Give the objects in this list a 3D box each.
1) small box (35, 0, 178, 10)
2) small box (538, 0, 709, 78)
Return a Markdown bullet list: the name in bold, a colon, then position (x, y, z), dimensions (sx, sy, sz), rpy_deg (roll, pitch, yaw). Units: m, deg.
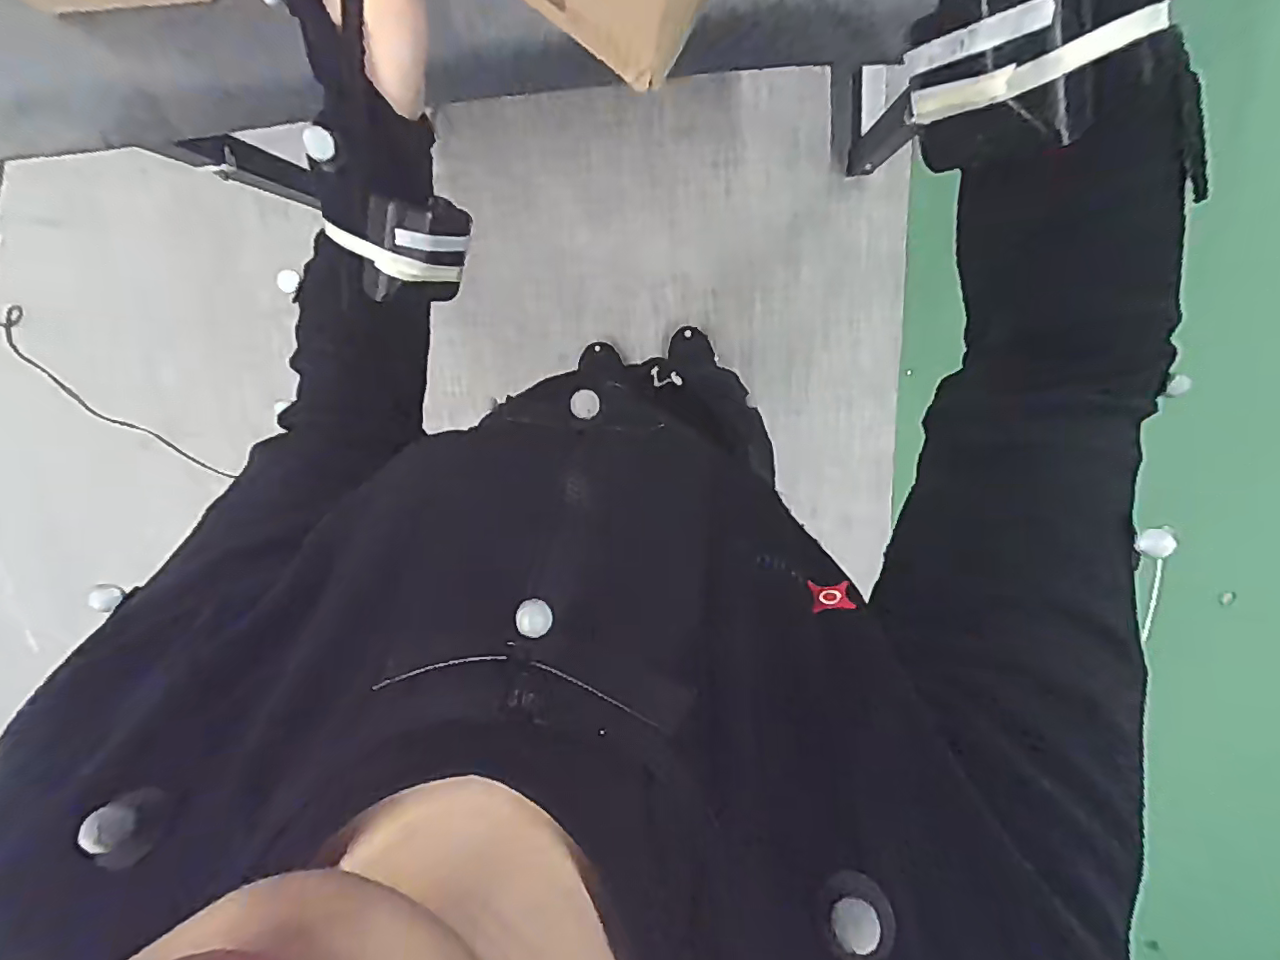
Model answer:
- **small box**: position (-0.507, -0.525, 0.434), dimensions (0.179, 0.176, 0.168), rpy_deg (-1, 103, 3)
- **small box**: position (-0.006, -0.309, 0.197), dimensions (0.168, 0.176, 0.179), rpy_deg (32, 102, -11)
